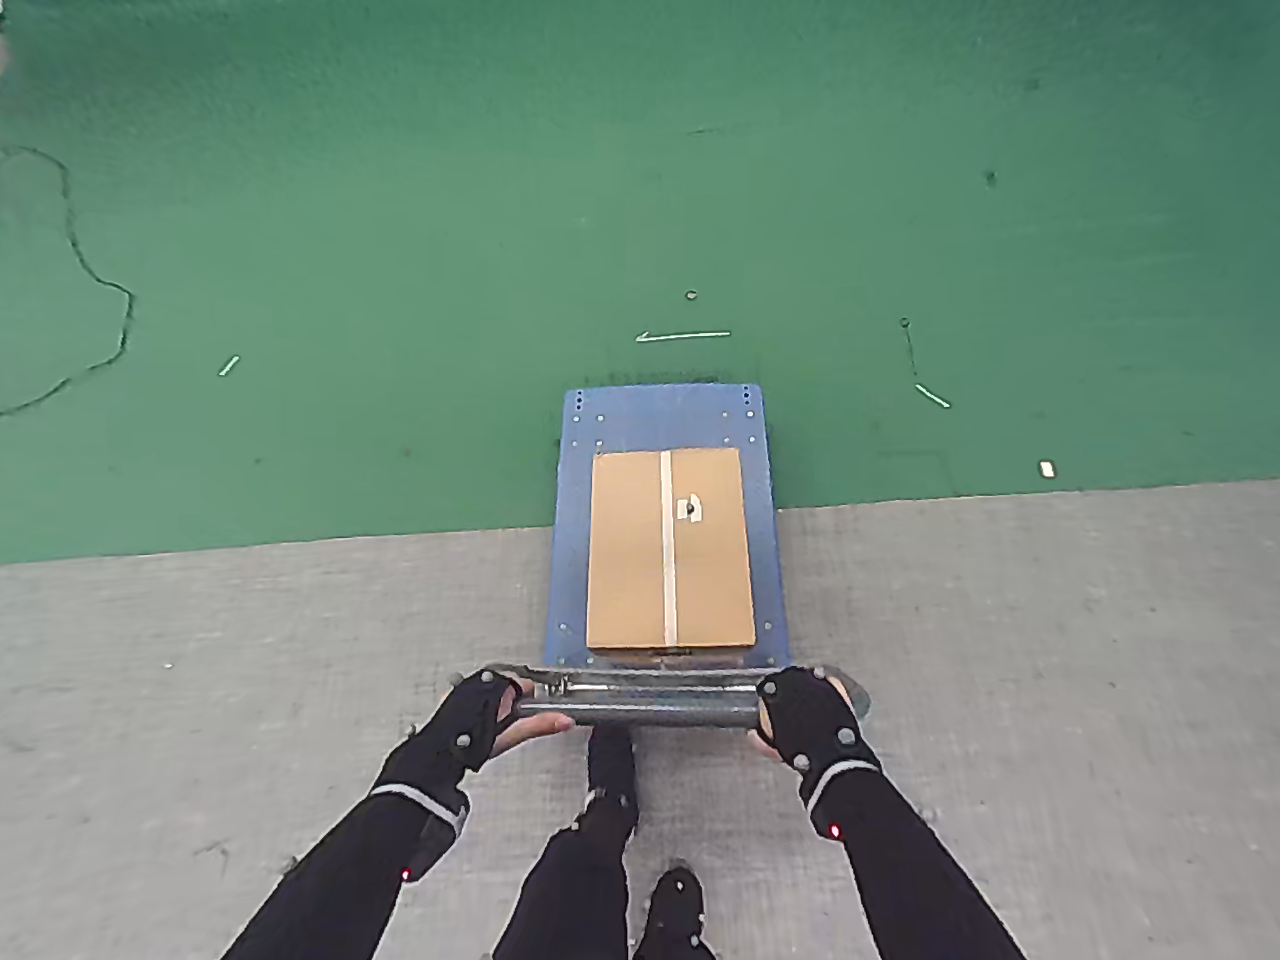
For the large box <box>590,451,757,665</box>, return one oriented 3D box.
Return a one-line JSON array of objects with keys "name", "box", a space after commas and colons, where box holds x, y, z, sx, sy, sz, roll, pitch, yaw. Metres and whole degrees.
[{"name": "large box", "box": [0.072, 0.187, 1.208, 0.320, 0.320, 0.408, -2, 65, 3]}]
